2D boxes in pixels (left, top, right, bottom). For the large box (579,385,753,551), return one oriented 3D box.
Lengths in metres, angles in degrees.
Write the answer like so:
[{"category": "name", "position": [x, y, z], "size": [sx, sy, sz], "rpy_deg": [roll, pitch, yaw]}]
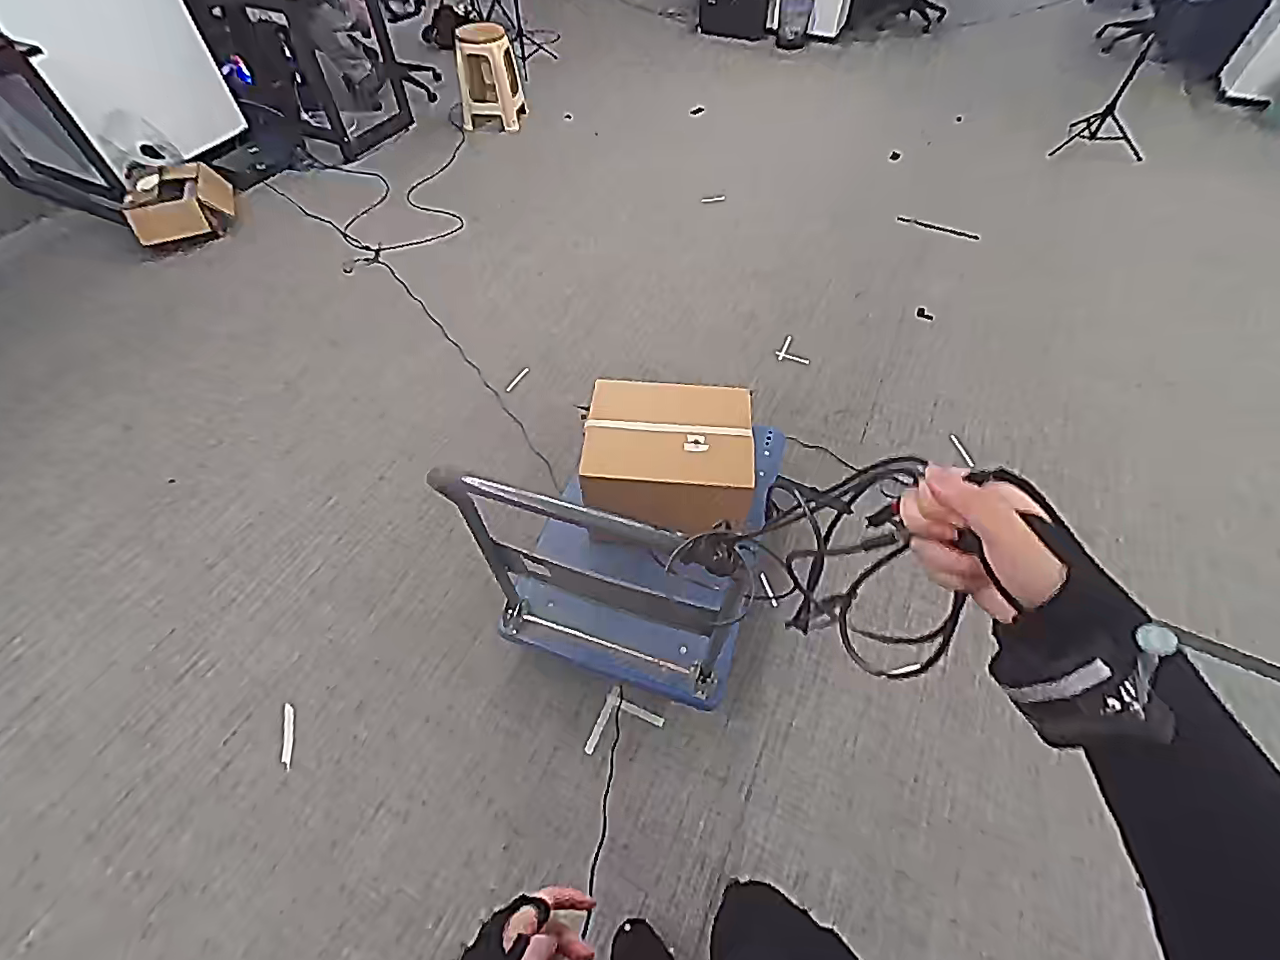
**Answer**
[{"category": "large box", "position": [0.064, -0.027, 1.430], "size": [0.408, 0.320, 0.320], "rpy_deg": [4, 55, 2]}]
